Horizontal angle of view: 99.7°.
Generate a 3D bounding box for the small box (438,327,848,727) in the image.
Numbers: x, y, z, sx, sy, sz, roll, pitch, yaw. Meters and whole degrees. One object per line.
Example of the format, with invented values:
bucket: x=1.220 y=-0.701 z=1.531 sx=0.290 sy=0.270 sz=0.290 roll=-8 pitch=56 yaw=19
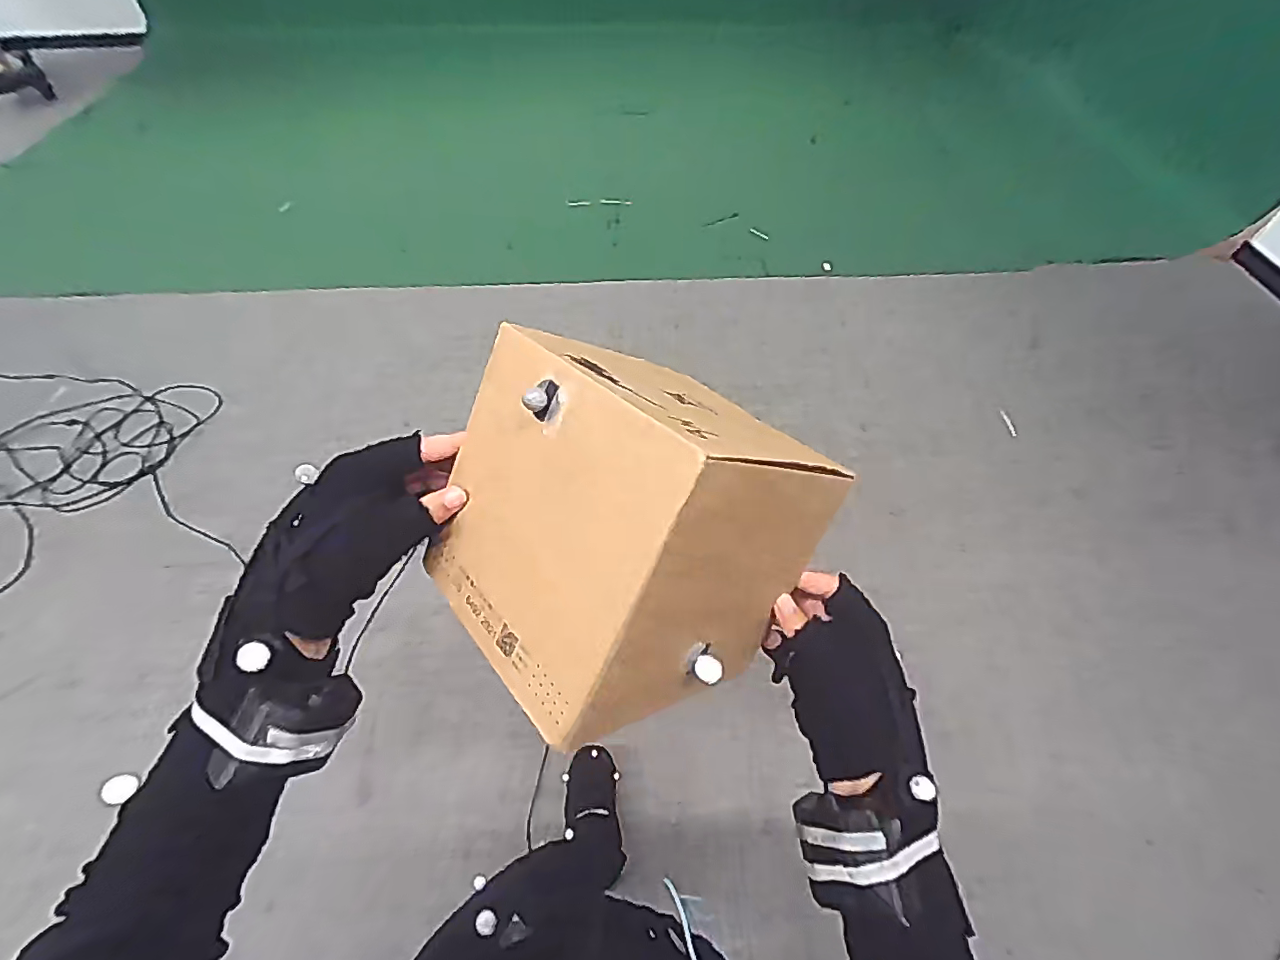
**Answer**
small box: x=-0.002 y=0.026 z=0.359 sx=0.179 sy=0.176 sz=0.168 roll=5 pitch=25 yaw=-49
